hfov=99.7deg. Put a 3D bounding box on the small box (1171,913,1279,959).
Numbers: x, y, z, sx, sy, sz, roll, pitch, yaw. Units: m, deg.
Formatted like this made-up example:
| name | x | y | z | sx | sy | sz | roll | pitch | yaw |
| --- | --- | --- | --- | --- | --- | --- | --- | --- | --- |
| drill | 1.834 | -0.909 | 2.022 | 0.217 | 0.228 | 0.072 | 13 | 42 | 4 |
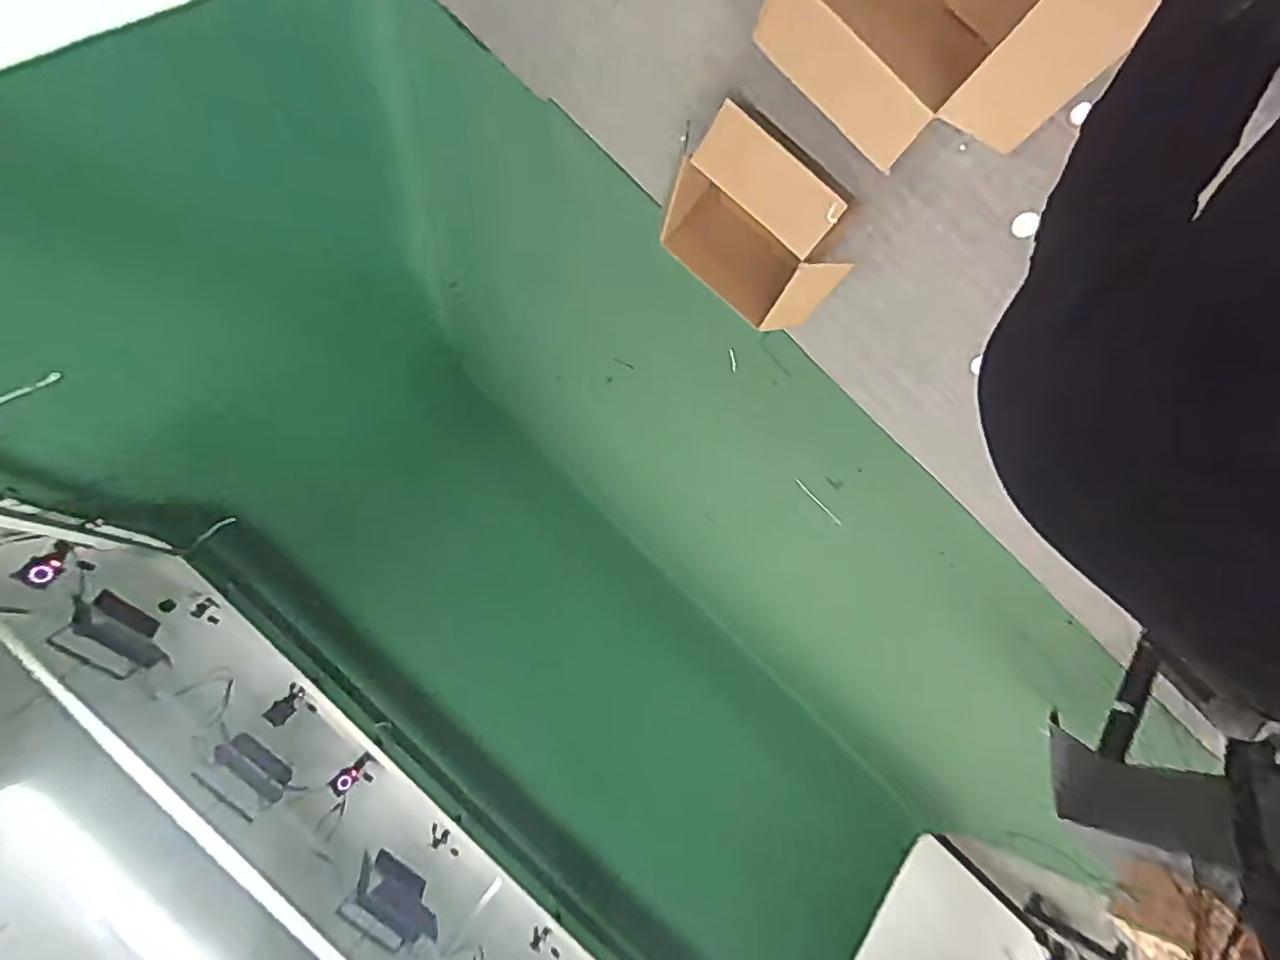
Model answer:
| name | x | y | z | sx | sy | sz | roll | pitch | yaw |
| --- | --- | --- | --- | --- | --- | --- | --- | --- | --- |
| small box | 1.522 | 1.274 | 1.376 | 0.179 | 0.176 | 0.168 | 46 | 158 | -3 |
